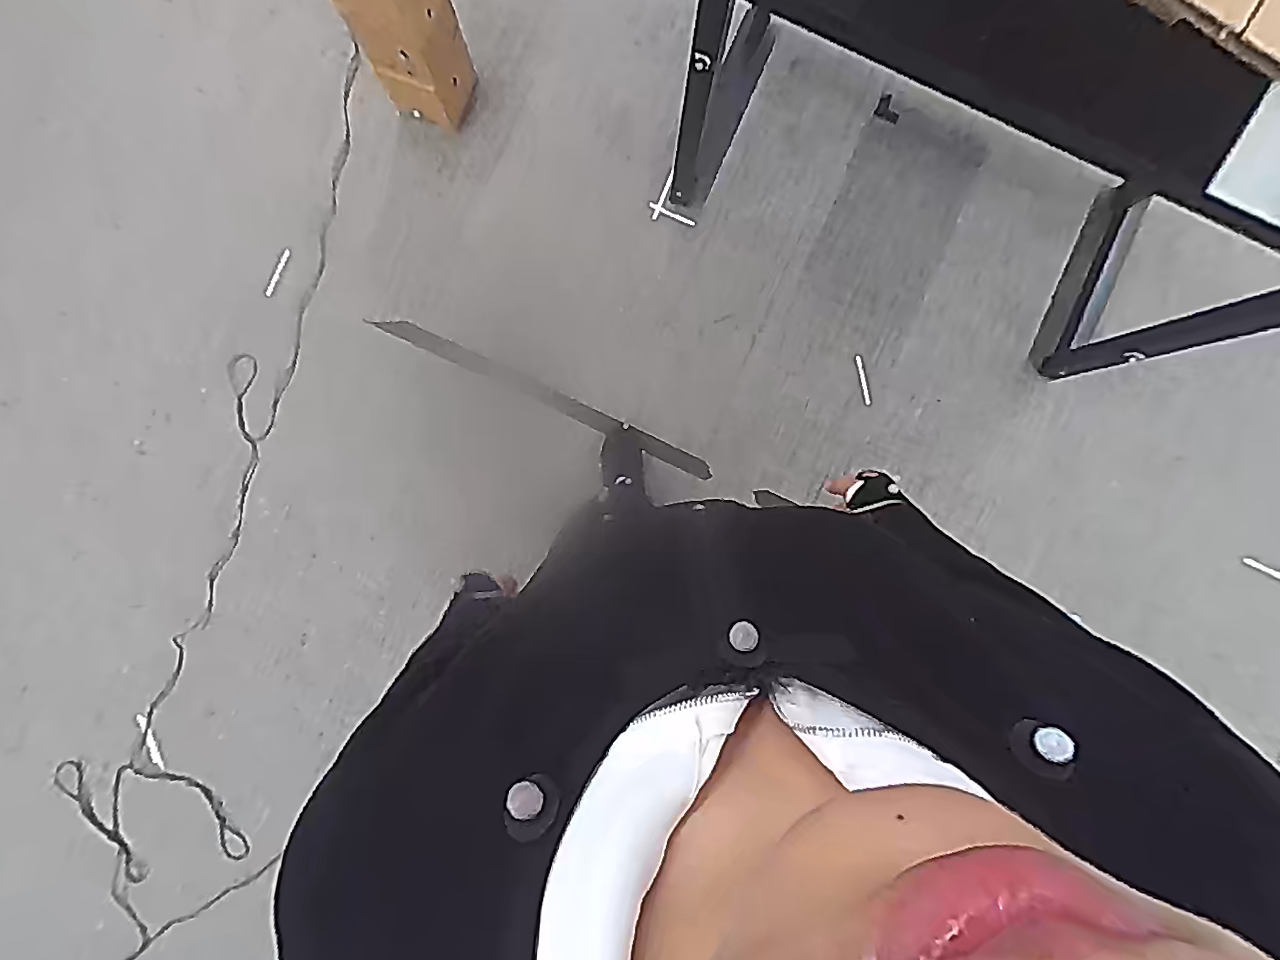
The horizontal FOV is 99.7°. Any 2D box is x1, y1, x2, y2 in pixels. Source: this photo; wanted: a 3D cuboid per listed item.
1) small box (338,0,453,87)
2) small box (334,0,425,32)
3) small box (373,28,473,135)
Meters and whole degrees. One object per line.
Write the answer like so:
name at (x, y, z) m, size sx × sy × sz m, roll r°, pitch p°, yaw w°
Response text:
small box at (-0.547, -1.054, 1.236) m, size 0.168 × 0.176 × 0.179 m, roll 17°, pitch 88°, yaw -3°
small box at (-0.540, -1.050, 1.072) m, size 0.179 × 0.176 × 0.168 m, roll 20°, pitch 90°, yaw -1°
small box at (-0.550, -1.049, 1.398) m, size 0.168 × 0.176 × 0.179 m, roll 20°, pitch 91°, yaw -1°
